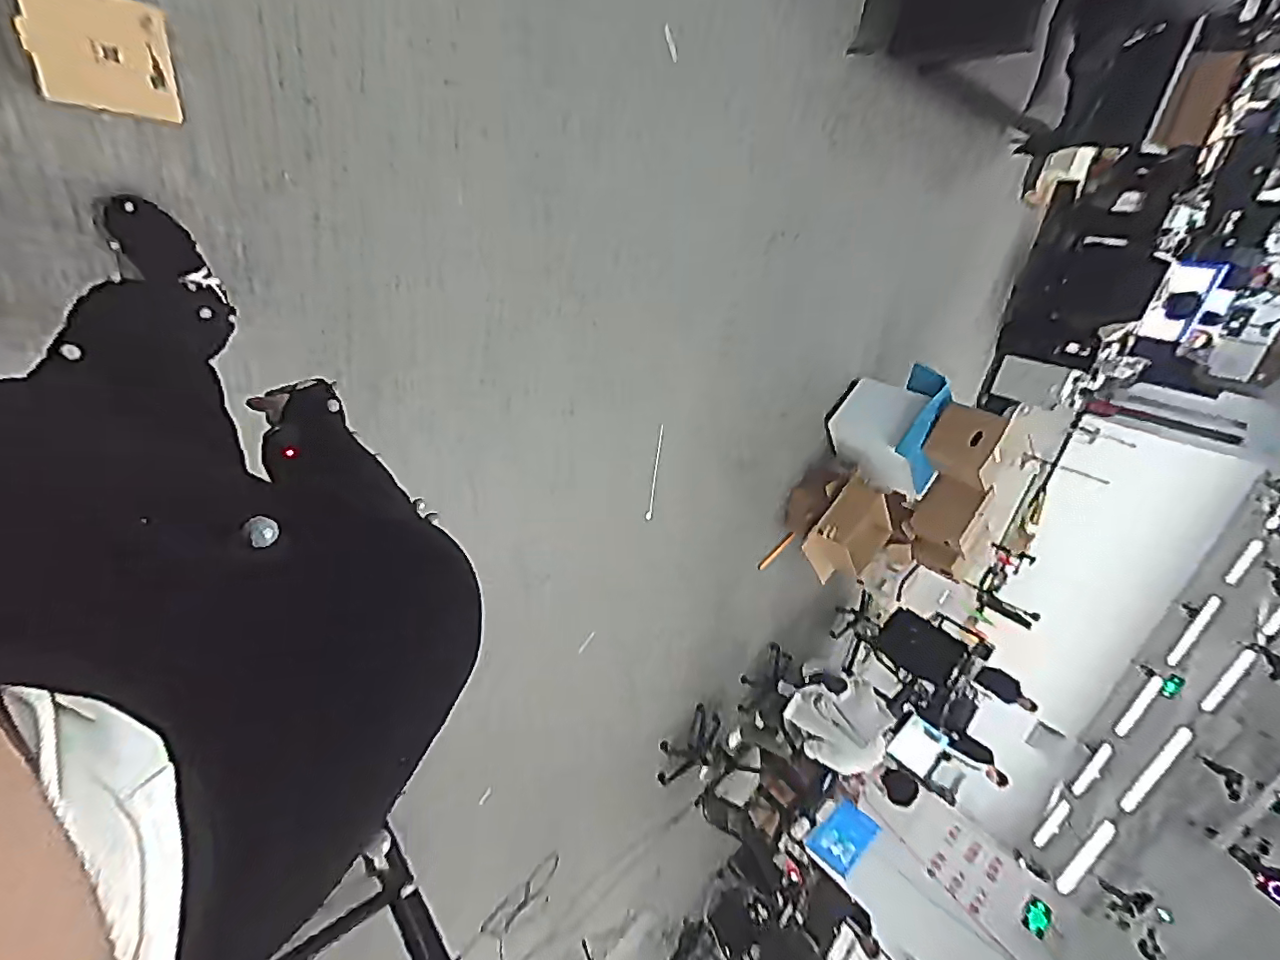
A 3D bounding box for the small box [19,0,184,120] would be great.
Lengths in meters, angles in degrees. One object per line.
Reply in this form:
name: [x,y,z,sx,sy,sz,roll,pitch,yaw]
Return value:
small box: [-0.914,-0.731,0.926,0.179,0.176,0.168,-13,123,-40]
